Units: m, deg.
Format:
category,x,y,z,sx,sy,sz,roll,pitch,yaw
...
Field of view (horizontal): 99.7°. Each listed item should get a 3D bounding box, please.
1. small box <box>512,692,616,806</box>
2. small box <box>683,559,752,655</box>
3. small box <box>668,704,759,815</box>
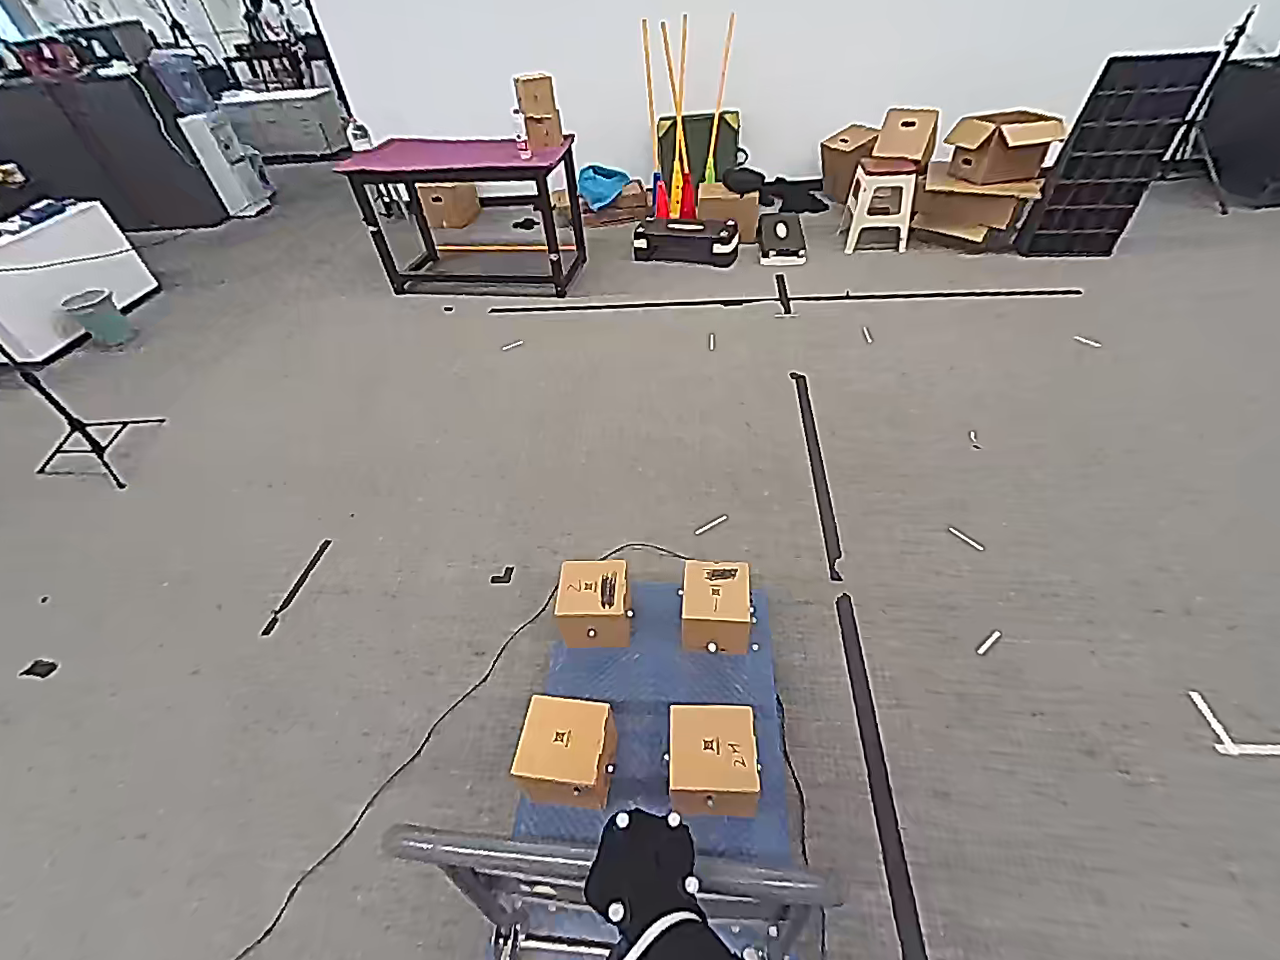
category,x,y,z,sx,sy,sz,roll,pitch,yaw
small box,-0.156,0.588,1.178,0.179,0.176,0.168,4,44,8
small box,0.200,0.331,1.408,0.168,0.176,0.179,2,46,7
small box,0.153,0.592,1.143,0.179,0.176,0.168,0,44,5
